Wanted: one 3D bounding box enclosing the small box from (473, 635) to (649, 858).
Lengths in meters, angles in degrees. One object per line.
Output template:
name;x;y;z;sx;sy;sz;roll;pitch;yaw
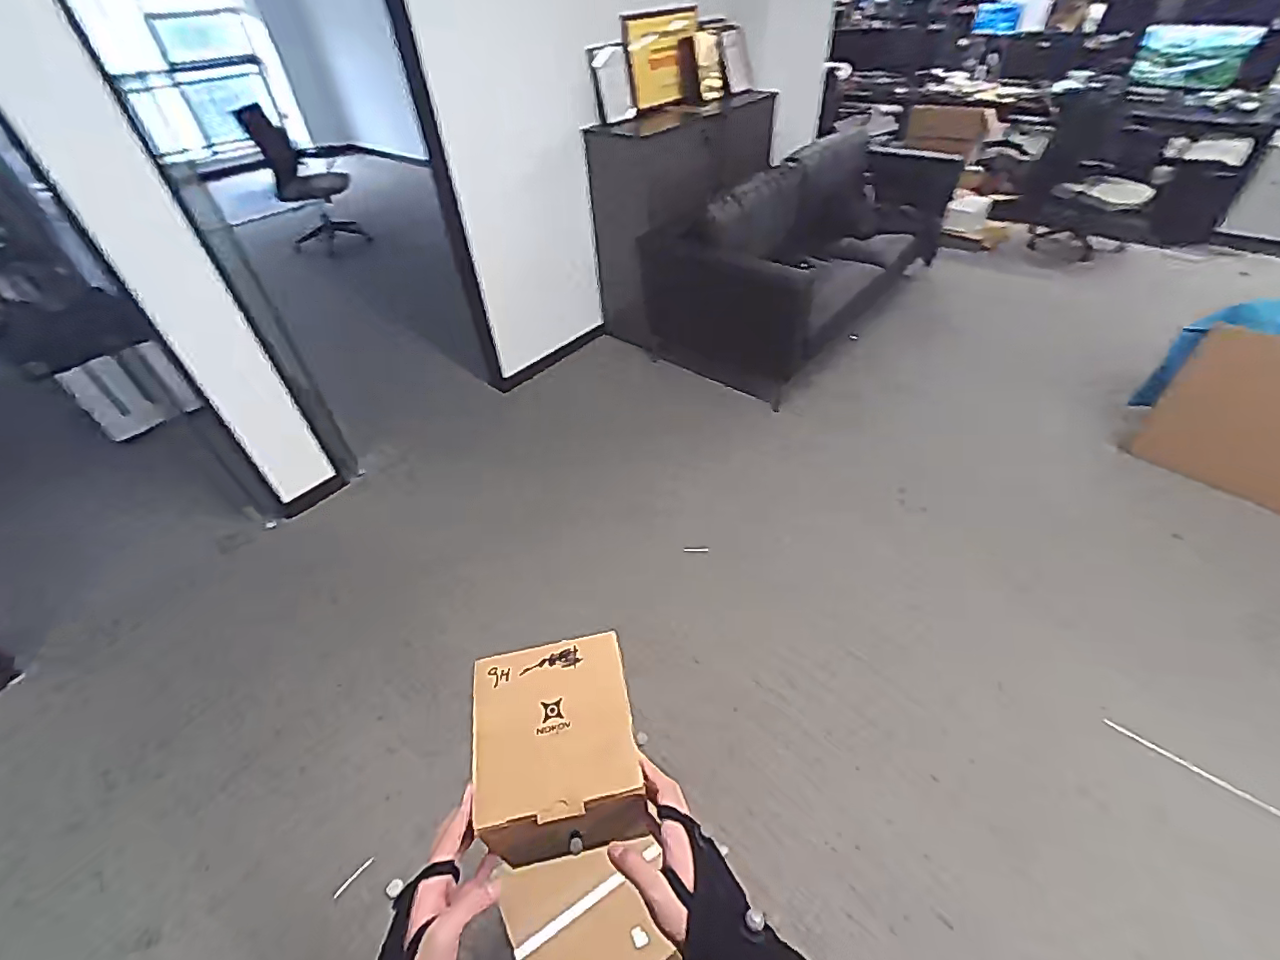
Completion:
small box;-0.086;0.308;0.619;0.168;0.176;0.179;-9;46;-6
